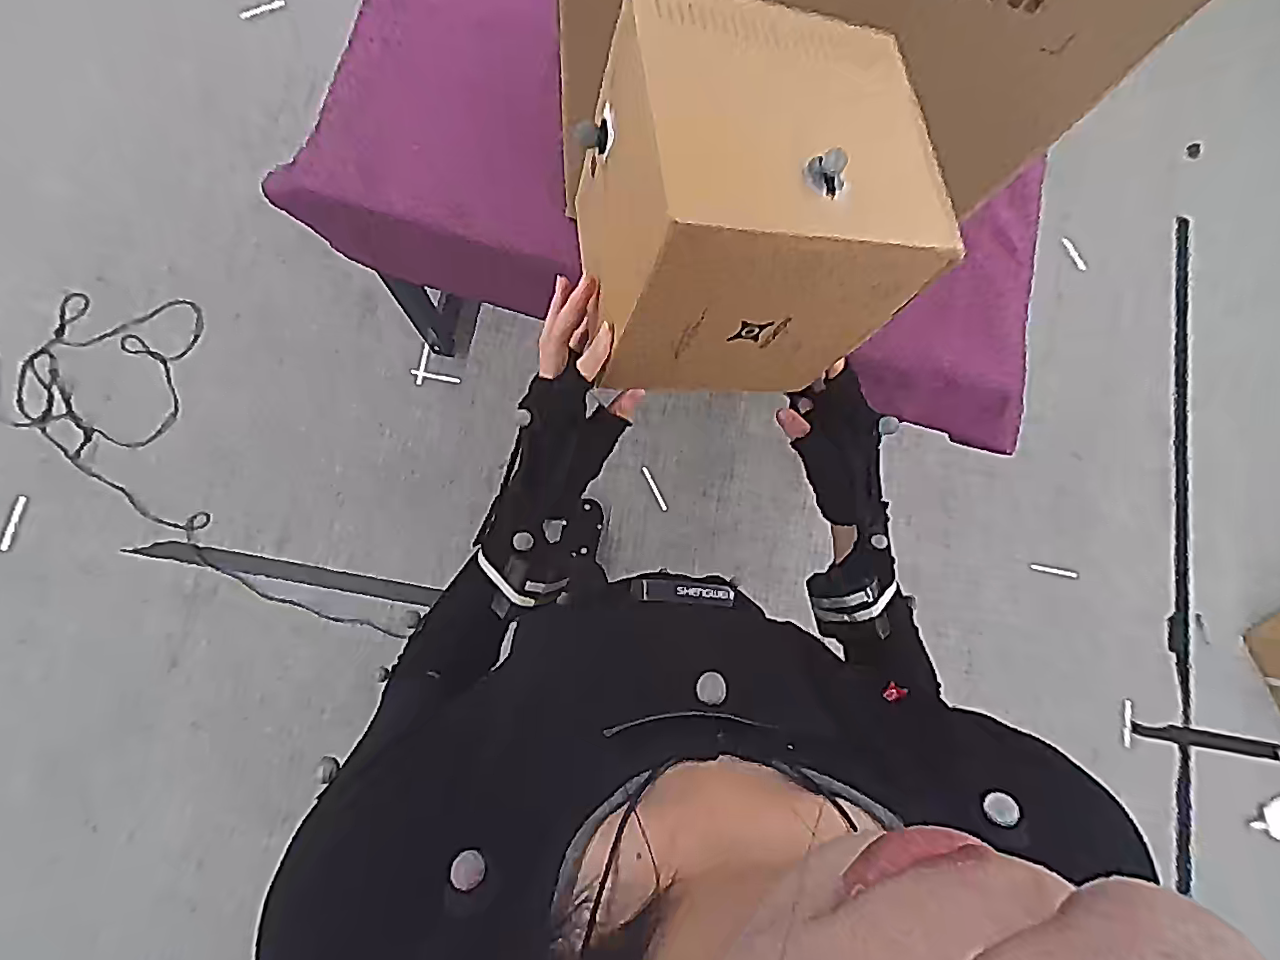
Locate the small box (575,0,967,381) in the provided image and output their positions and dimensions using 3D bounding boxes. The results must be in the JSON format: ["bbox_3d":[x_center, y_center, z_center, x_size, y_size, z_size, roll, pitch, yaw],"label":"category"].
[{"bbox_3d":[0.061,-0.179,0.353,0.179,0.168,0.176,-2,72,-16],"label":"small box"}]
